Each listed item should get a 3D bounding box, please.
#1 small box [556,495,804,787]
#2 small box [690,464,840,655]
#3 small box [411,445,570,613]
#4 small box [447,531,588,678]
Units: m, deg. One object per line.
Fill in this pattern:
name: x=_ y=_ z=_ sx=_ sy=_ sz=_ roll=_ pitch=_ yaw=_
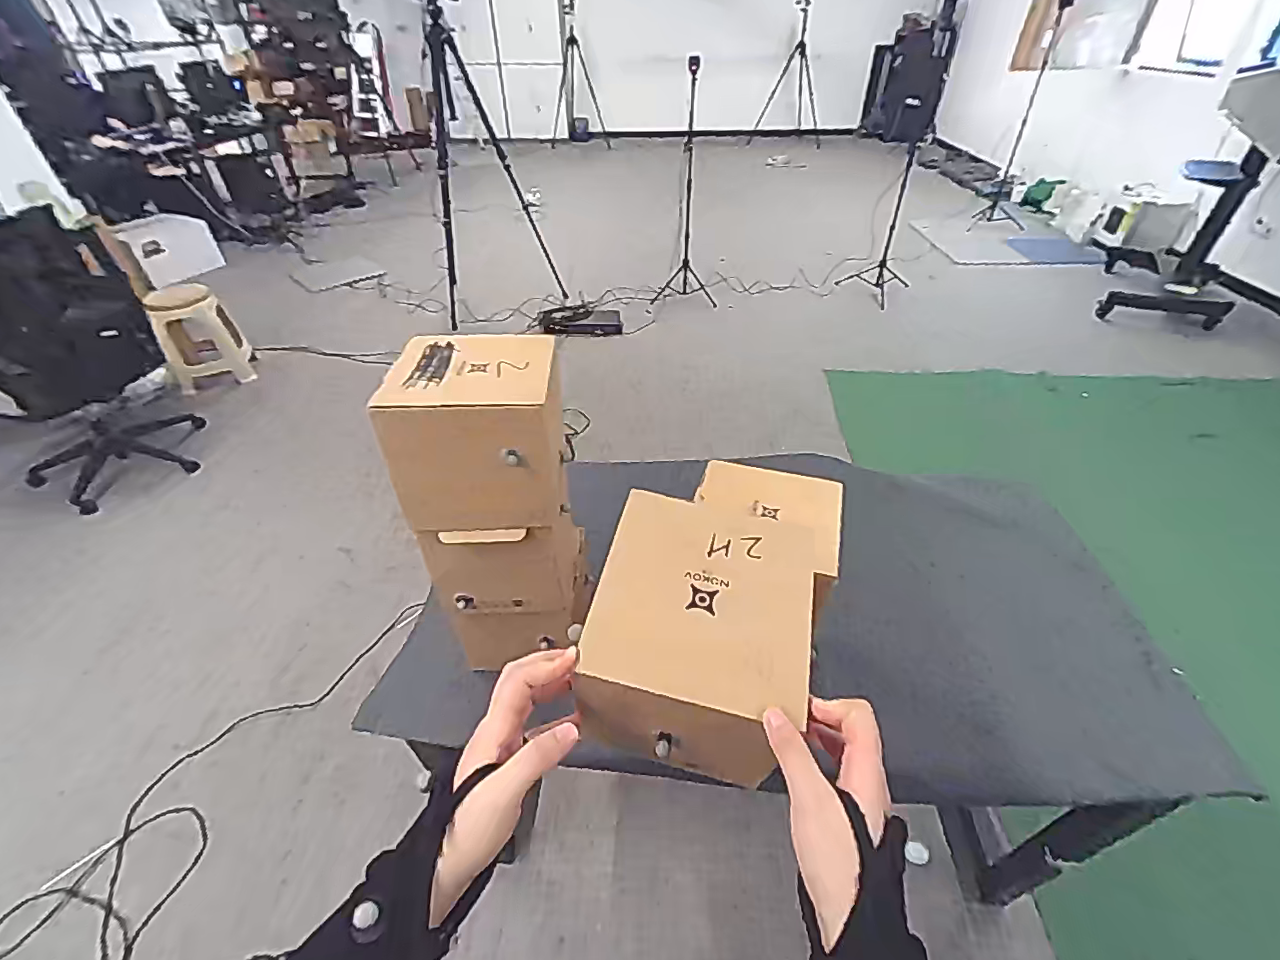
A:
small box: x=0.039 y=0.144 z=0.477 sx=0.168 sy=0.176 sz=0.179 roll=11 pitch=49 yaw=8
small box: x=0.149 y=0.105 z=0.698 sx=0.179 sy=0.176 sz=0.168 roll=9 pitch=41 yaw=15
small box: x=-0.191 y=0.071 z=0.752 sx=0.168 sy=0.176 sz=0.179 roll=-2 pitch=38 yaw=-1
small box: x=-0.177 y=0.196 z=0.858 sx=0.179 sy=0.176 sz=0.168 roll=-1 pitch=39 yaw=3
